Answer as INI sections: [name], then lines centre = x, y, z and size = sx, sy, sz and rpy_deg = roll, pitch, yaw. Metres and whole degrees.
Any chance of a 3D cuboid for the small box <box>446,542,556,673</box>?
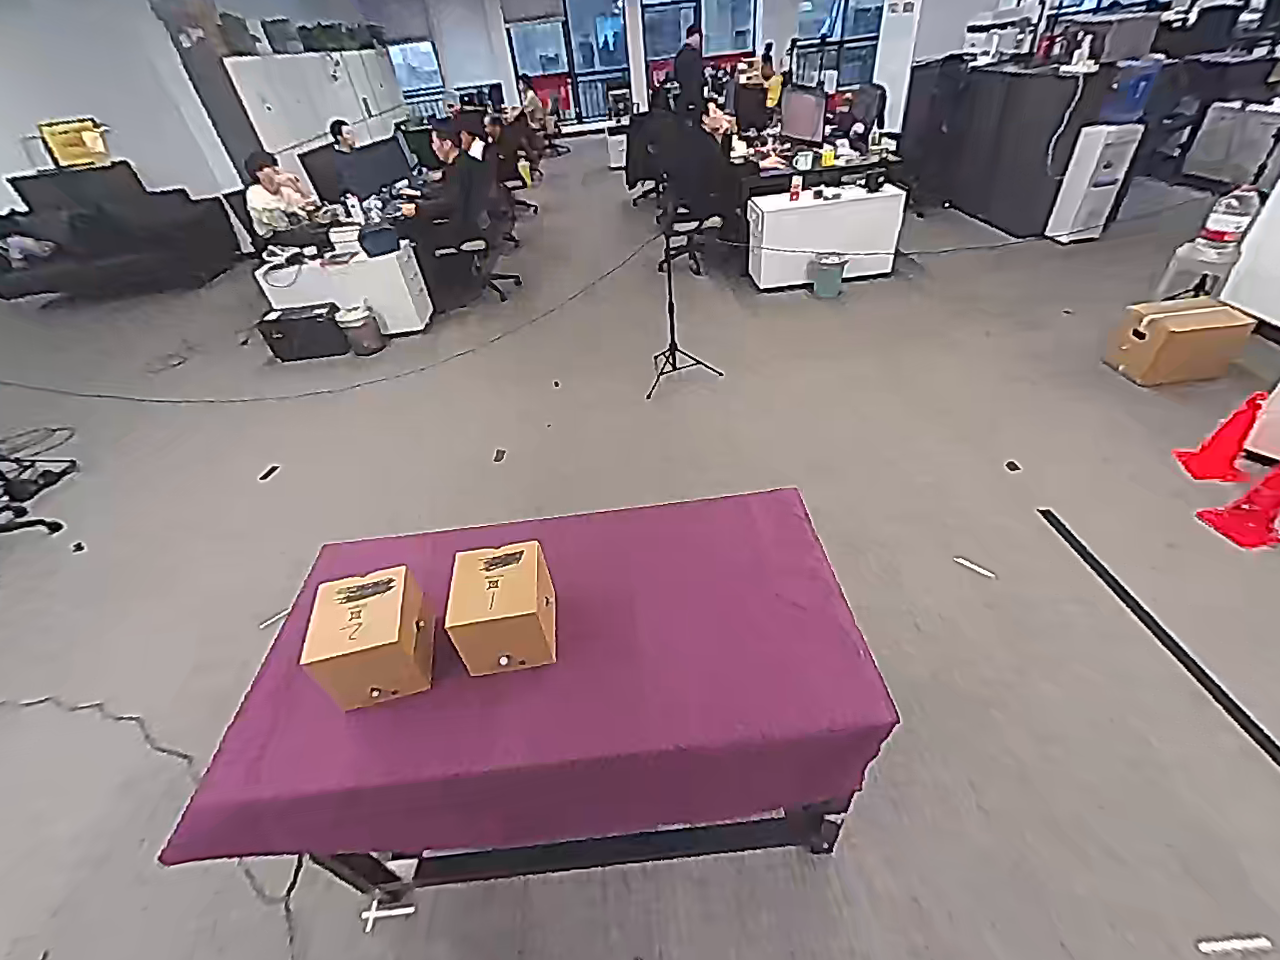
[small box]
centre = -0.263, 0.249, 1.064
size = 0.168, 0.176, 0.179
rpy_deg = -9, 40, -2
